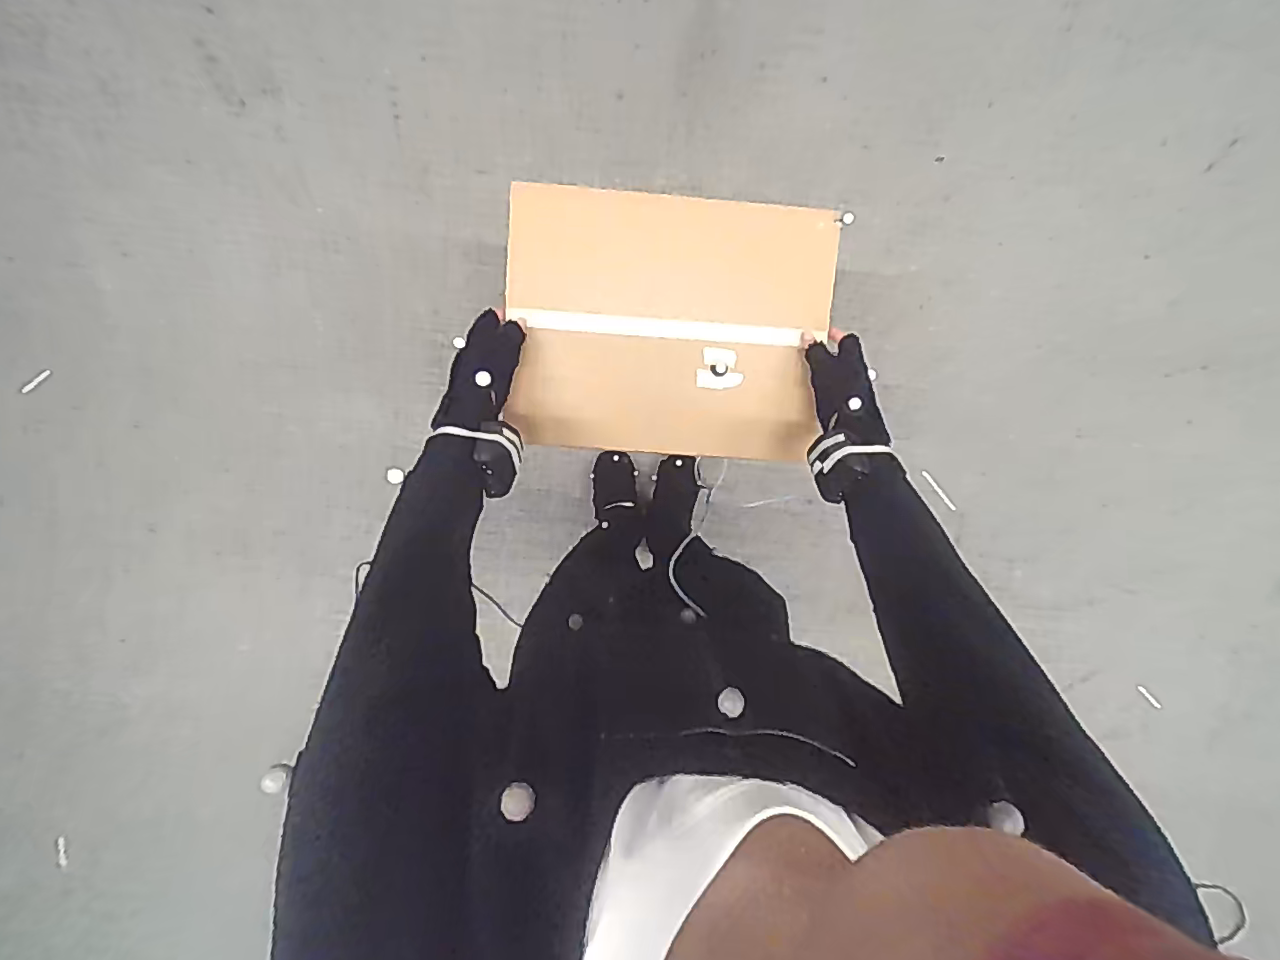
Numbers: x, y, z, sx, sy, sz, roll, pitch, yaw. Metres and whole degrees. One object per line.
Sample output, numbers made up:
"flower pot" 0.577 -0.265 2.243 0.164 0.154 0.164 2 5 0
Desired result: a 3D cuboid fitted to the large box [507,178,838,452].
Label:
"large box" 0.029 -0.216 0.818 0.408 0.320 0.320 4 98 -3
